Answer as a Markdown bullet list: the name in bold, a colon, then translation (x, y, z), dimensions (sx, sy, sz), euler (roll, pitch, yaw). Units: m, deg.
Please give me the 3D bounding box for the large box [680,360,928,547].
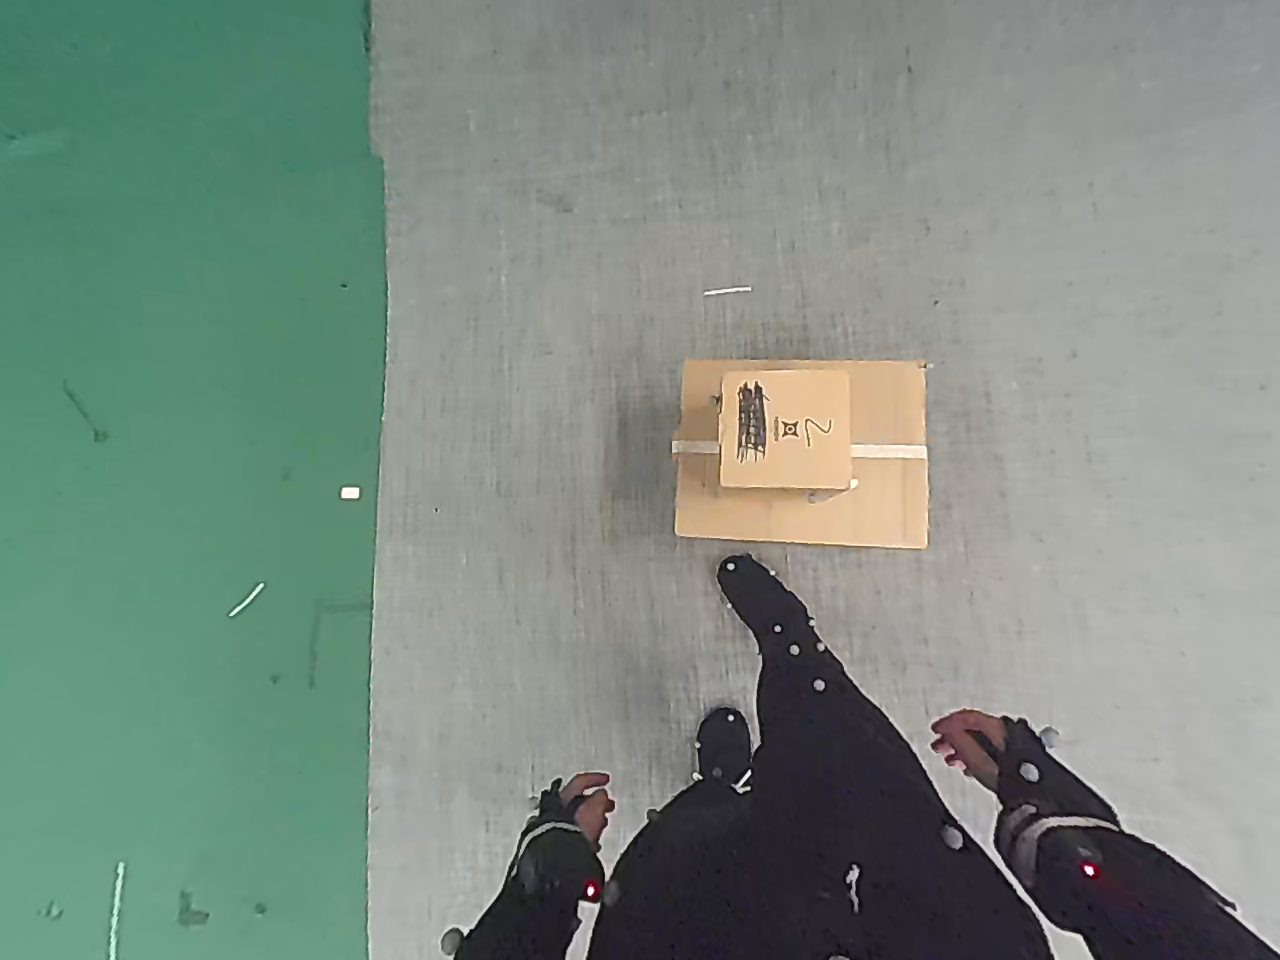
- **large box**: translation (0.285, -0.032, 1.049), dimensions (0.408, 0.320, 0.320), euler (2, 84, 7)
